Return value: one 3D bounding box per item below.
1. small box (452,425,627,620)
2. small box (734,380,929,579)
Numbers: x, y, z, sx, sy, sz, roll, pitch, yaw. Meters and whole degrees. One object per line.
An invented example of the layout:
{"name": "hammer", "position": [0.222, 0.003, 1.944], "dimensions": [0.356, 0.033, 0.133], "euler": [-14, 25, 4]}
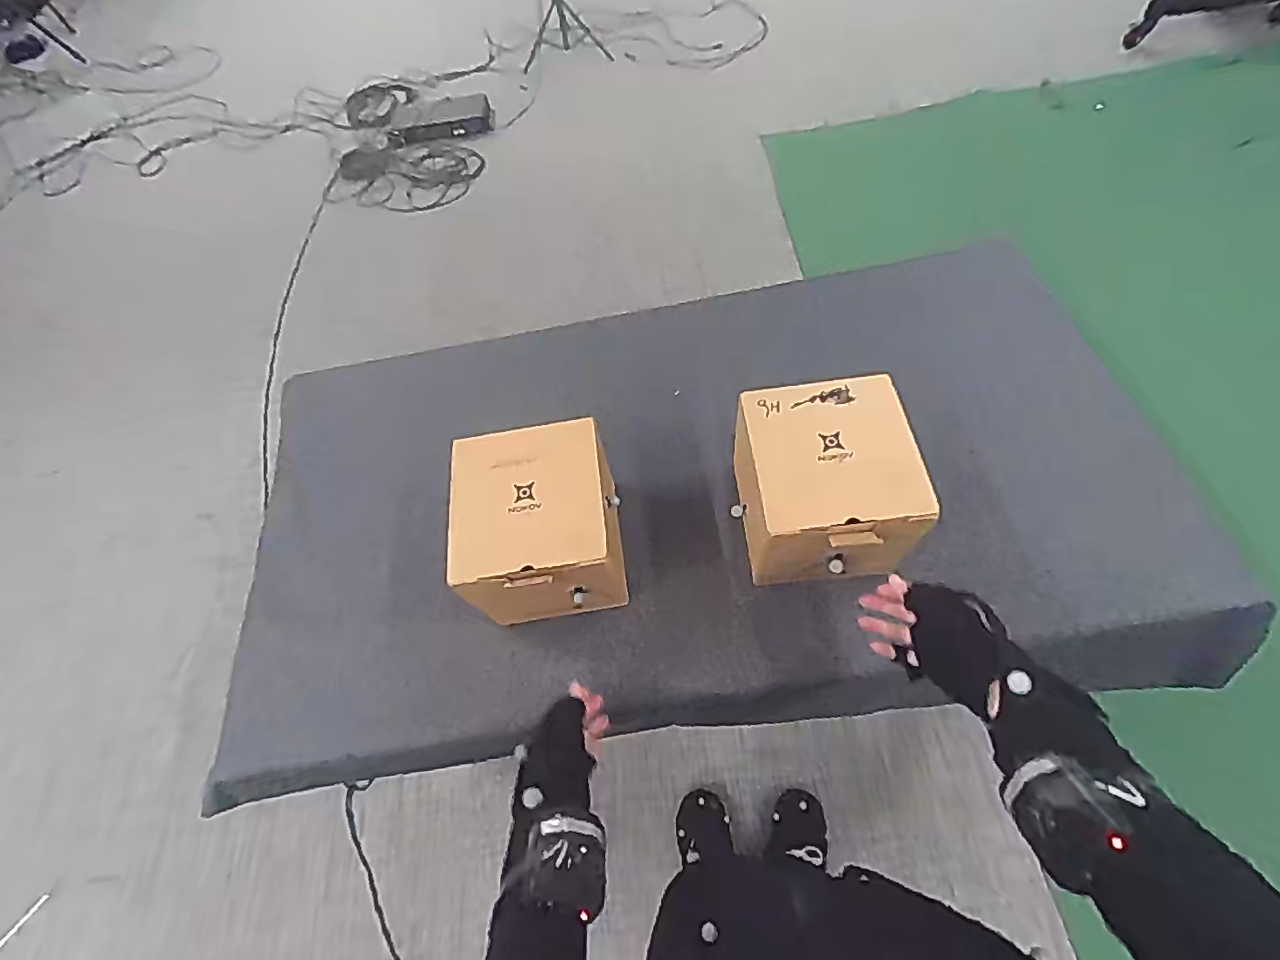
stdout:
{"name": "small box", "position": [-0.114, 0.062, 0.657], "dimensions": [0.168, 0.176, 0.179], "euler": [-10, 60, 1]}
{"name": "small box", "position": [0.206, 0.011, 0.637], "dimensions": [0.168, 0.176, 0.179], "euler": [-7, 62, 4]}
